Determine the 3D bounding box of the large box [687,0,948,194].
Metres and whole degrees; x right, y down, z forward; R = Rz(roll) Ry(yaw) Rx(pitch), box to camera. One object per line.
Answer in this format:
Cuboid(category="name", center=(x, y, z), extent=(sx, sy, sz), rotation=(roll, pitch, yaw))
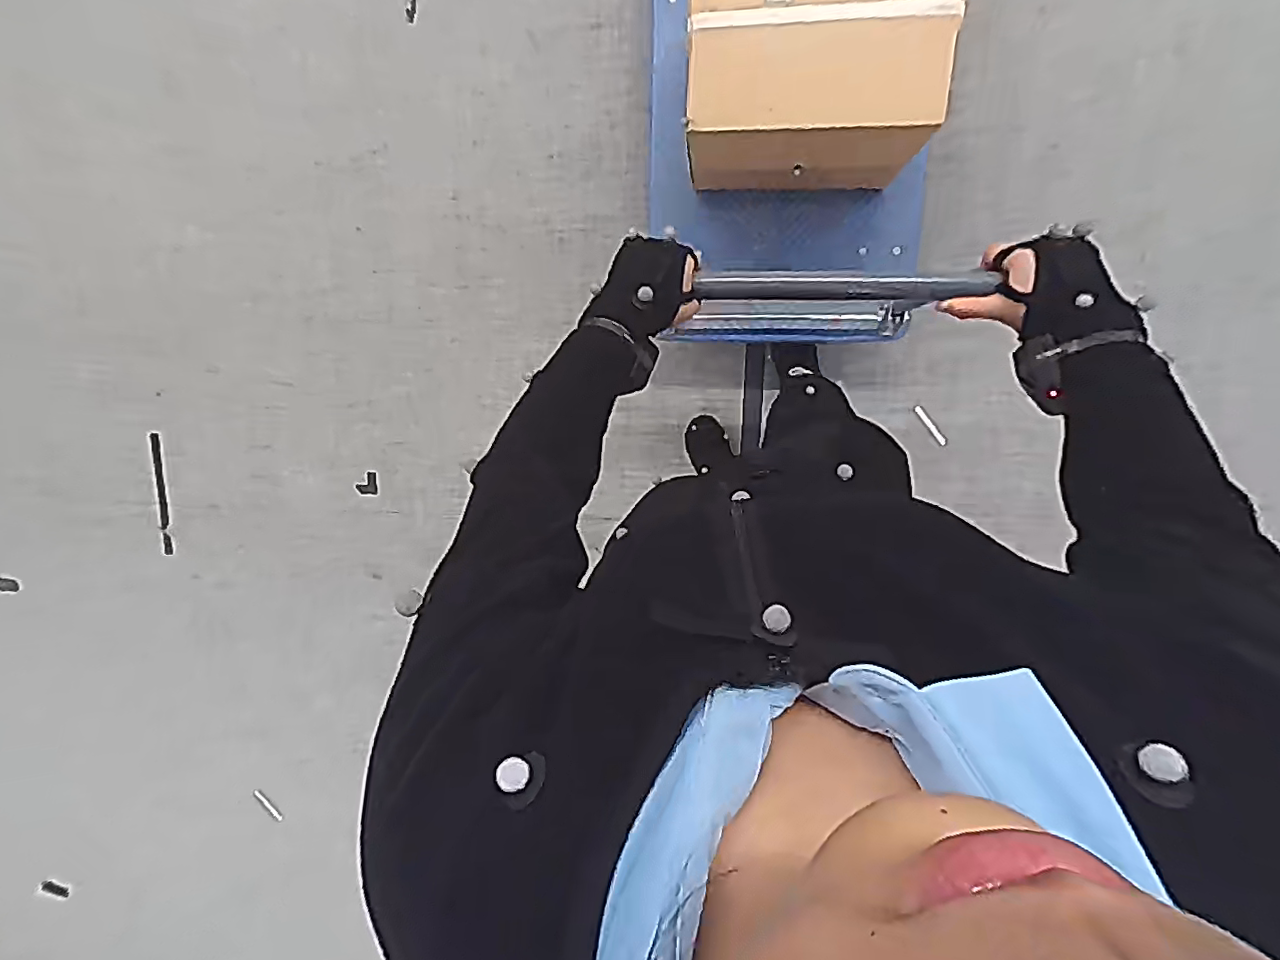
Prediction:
Cuboid(category="large box", center=(0.303, -0.749, 1.007), extent=(0.408, 0.320, 0.320), rotation=(3, 101, 9))
